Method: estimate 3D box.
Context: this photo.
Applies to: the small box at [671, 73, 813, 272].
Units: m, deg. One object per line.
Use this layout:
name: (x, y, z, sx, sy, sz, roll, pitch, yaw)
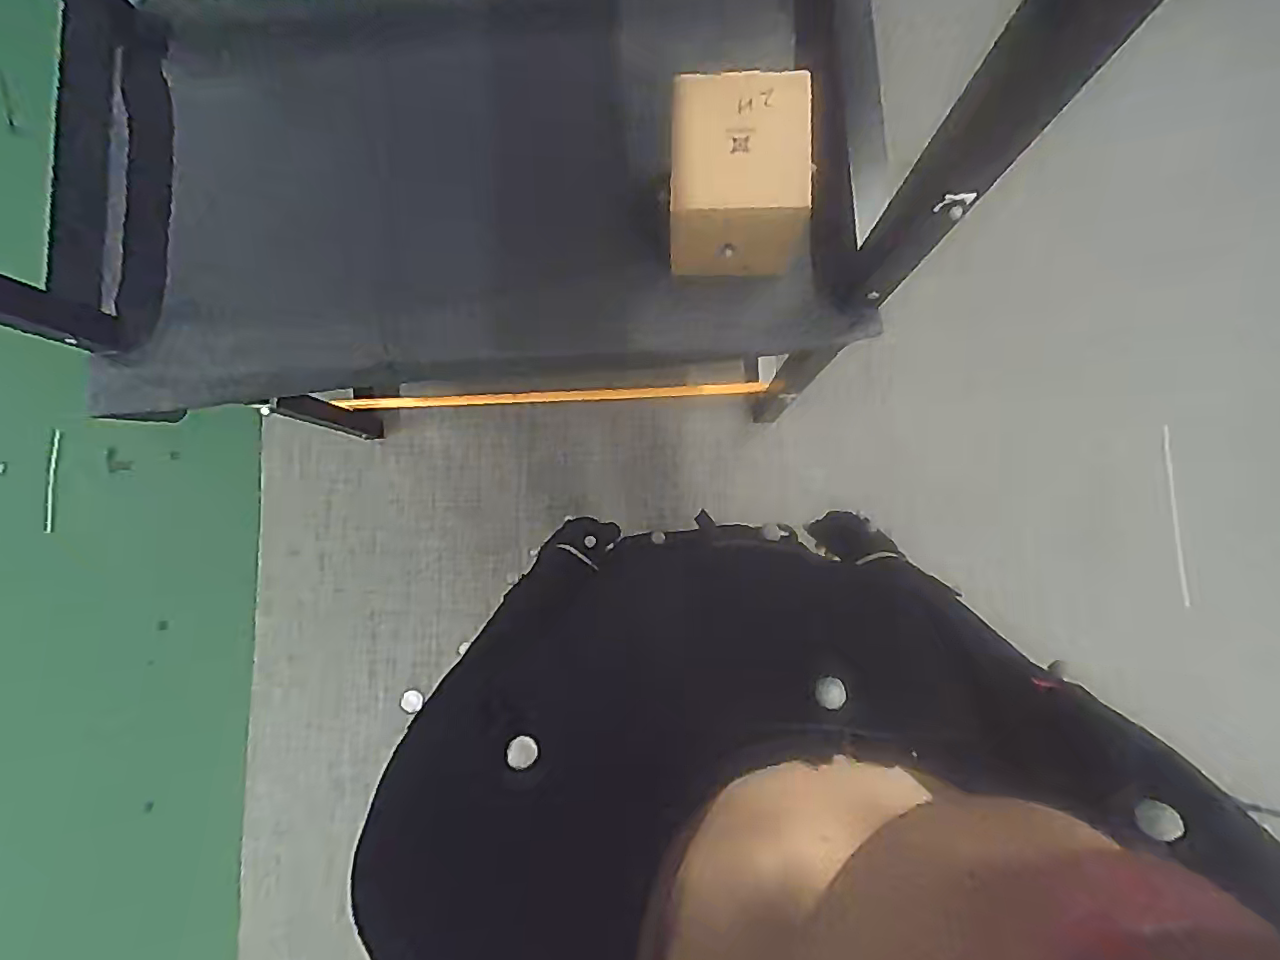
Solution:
small box: (0.127, -0.395, 0.723, 0.168, 0.176, 0.179, 2, 84, 3)
